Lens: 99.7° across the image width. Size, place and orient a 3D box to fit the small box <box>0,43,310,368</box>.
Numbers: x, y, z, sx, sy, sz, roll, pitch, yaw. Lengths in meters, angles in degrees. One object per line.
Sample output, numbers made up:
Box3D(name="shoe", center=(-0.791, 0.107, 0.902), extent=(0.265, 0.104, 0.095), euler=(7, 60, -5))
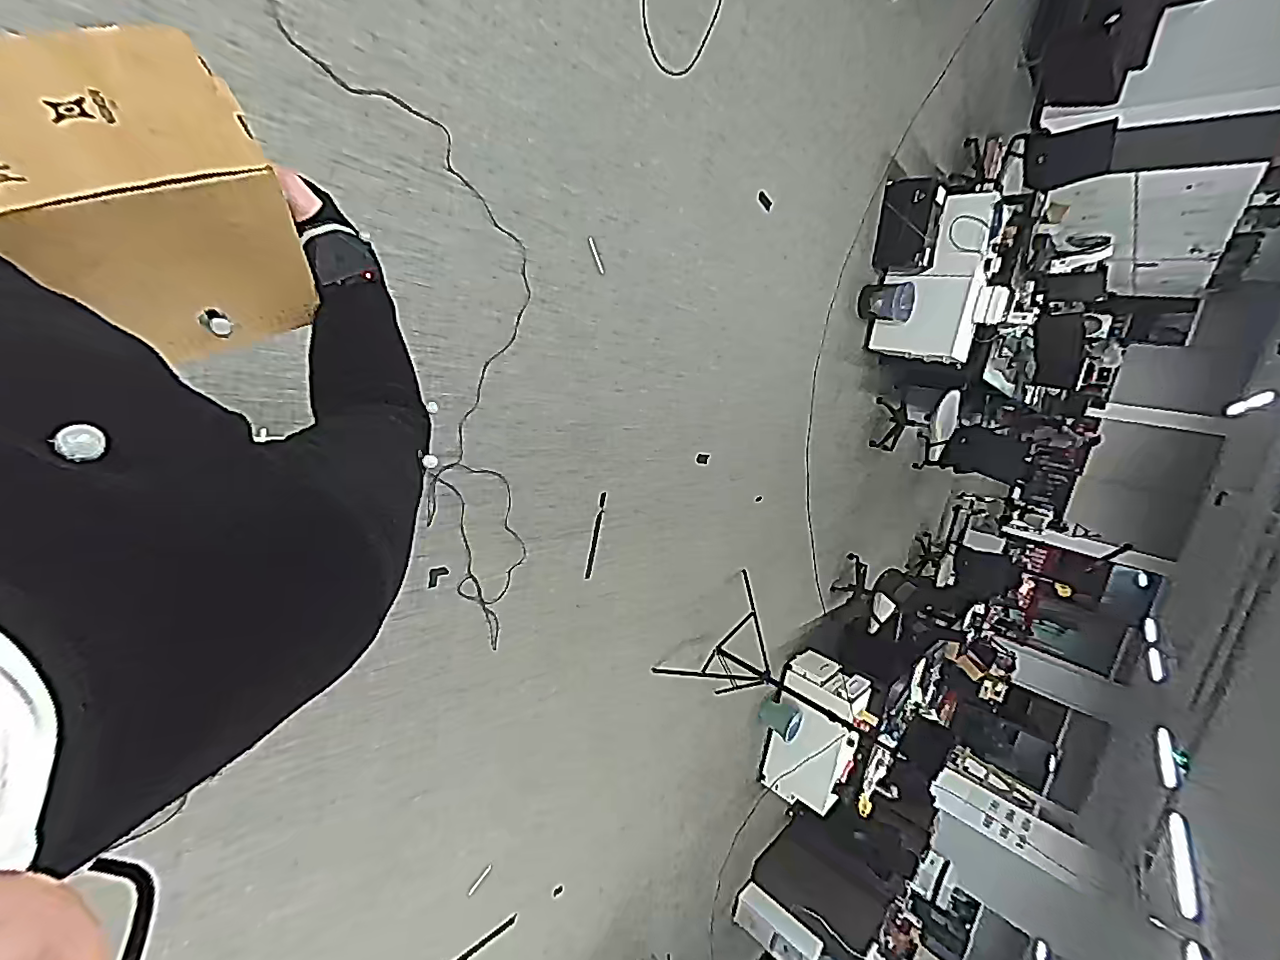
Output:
Box3D(name="small box", center=(-0.413, -0.228, 0.464), extent=(0.179, 0.168, 0.176), euler=(-30, 166, -28))
